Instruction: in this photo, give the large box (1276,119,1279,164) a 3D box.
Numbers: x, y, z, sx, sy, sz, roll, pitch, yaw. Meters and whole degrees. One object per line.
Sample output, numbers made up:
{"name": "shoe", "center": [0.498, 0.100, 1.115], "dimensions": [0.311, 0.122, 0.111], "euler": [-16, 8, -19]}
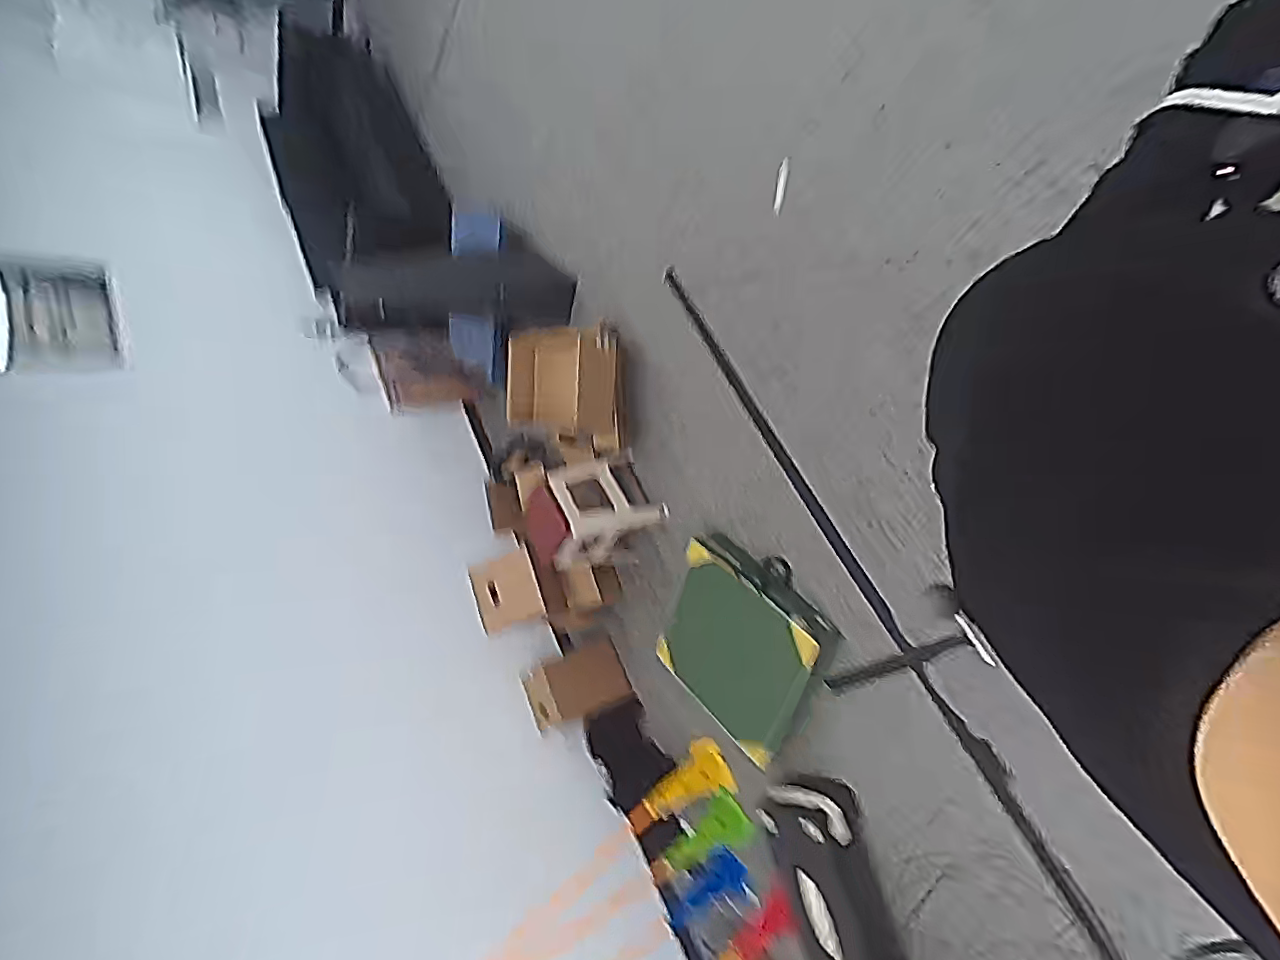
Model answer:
{"name": "large box", "center": [0.703, -0.296, 0.275], "dimensions": [0.408, 0.320, 0.320], "euler": [43, 134, 31]}
